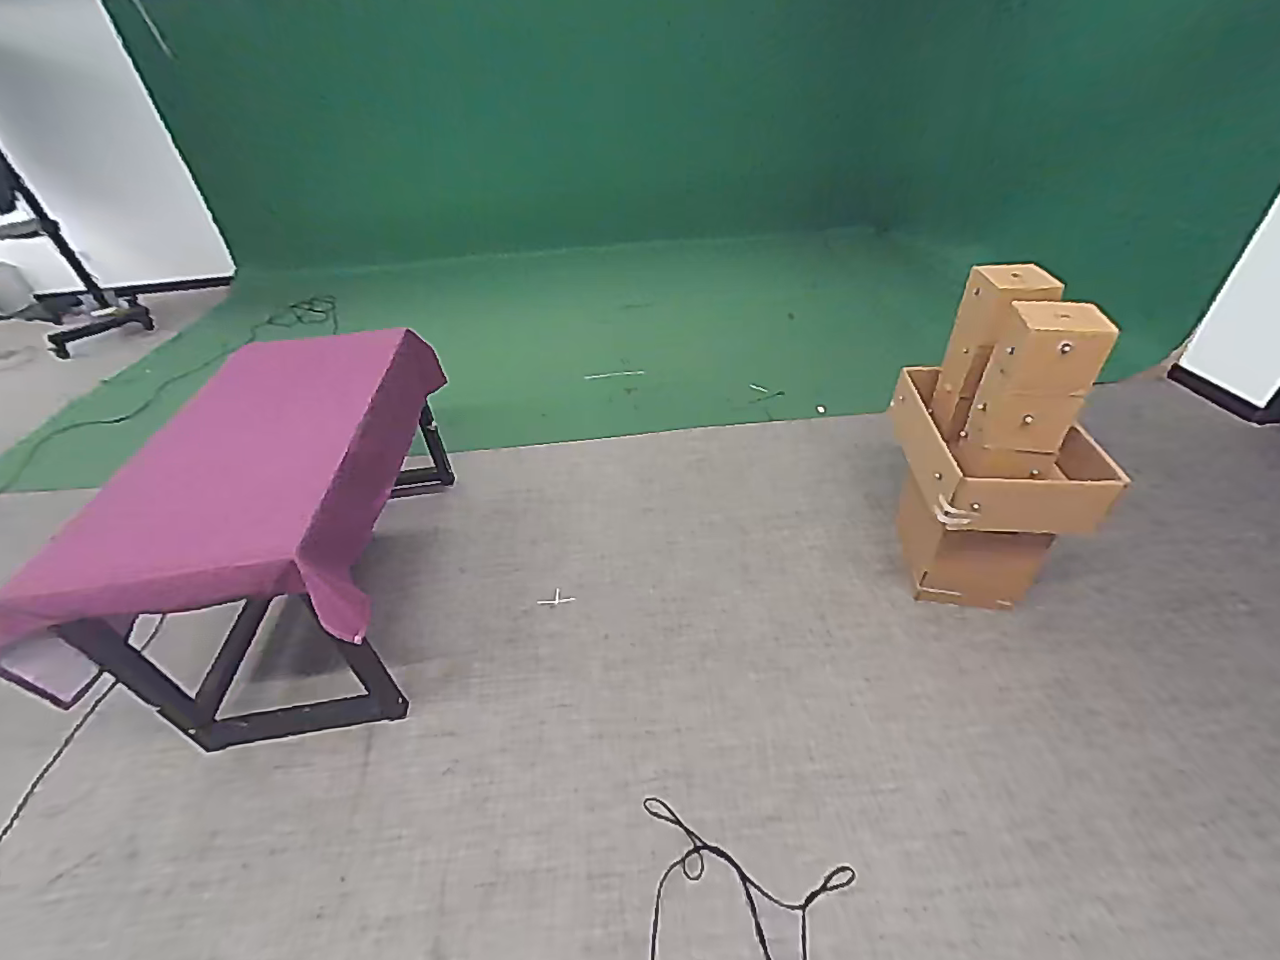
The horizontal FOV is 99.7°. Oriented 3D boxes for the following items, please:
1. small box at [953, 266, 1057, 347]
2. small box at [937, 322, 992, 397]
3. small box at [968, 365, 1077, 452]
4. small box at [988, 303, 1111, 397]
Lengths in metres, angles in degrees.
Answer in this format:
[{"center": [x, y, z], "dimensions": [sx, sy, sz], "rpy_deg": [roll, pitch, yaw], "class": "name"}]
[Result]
[{"center": [1.019, -0.491, 1.531], "dimensions": [0.168, 0.176, 0.179], "rpy_deg": [0, 41, 6], "class": "small box"}, {"center": [1.031, -0.366, 1.638], "dimensions": [0.168, 0.176, 0.179], "rpy_deg": [1, 41, 6], "class": "small box"}, {"center": [0.989, -0.189, 1.422], "dimensions": [0.179, 0.176, 0.168], "rpy_deg": [5, 40, 12], "class": "small box"}, {"center": [0.980, -0.316, 1.319], "dimensions": [0.179, 0.176, 0.168], "rpy_deg": [7, 41, 12], "class": "small box"}]
